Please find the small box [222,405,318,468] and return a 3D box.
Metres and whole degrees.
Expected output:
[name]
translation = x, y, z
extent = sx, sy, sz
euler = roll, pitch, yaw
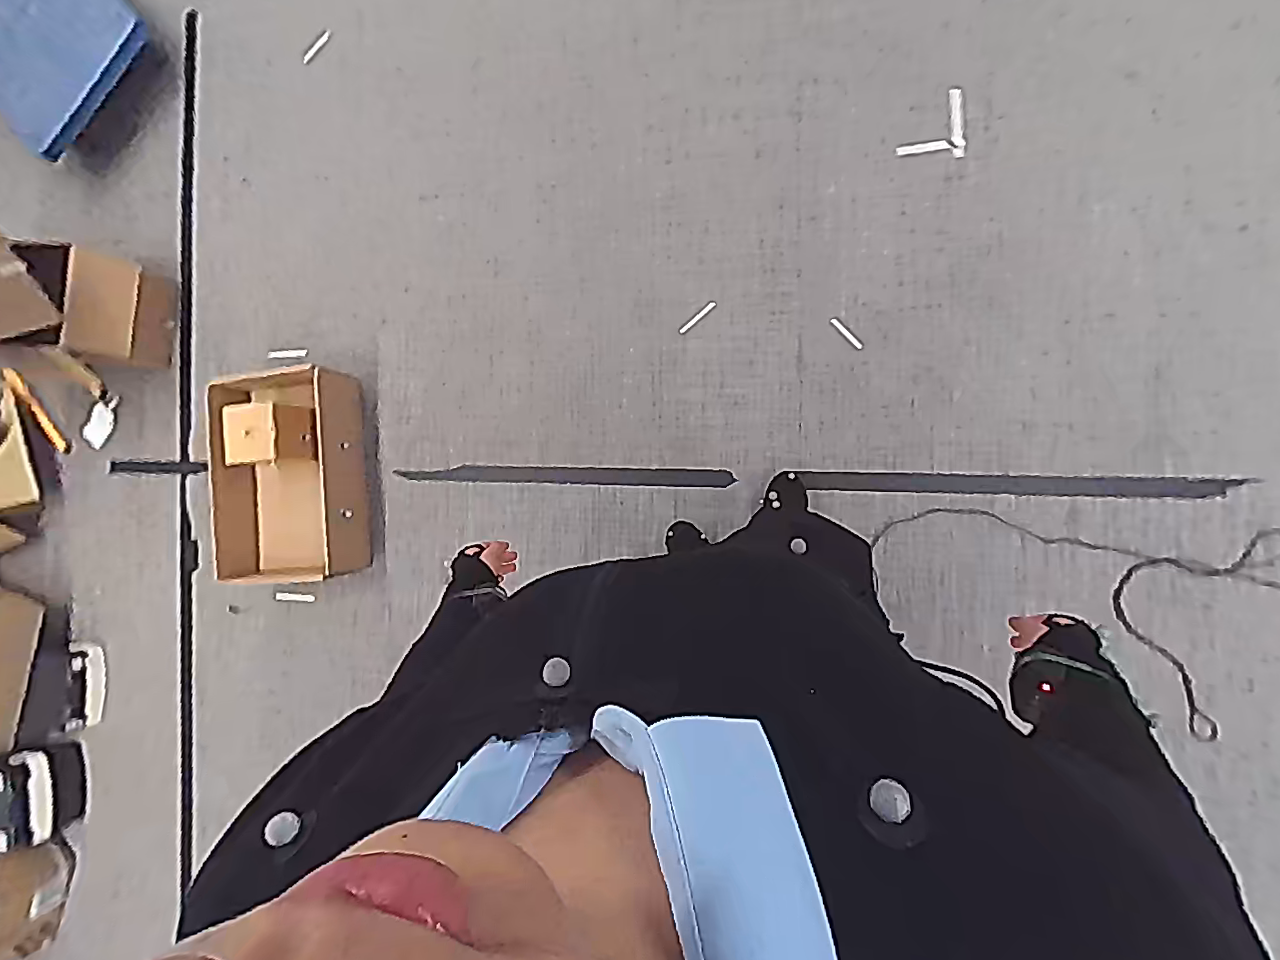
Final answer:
[small box]
translation = -1.112, -0.126, 1.631
extent = 0.179, 0.176, 0.168
euler = -5, 89, 12
